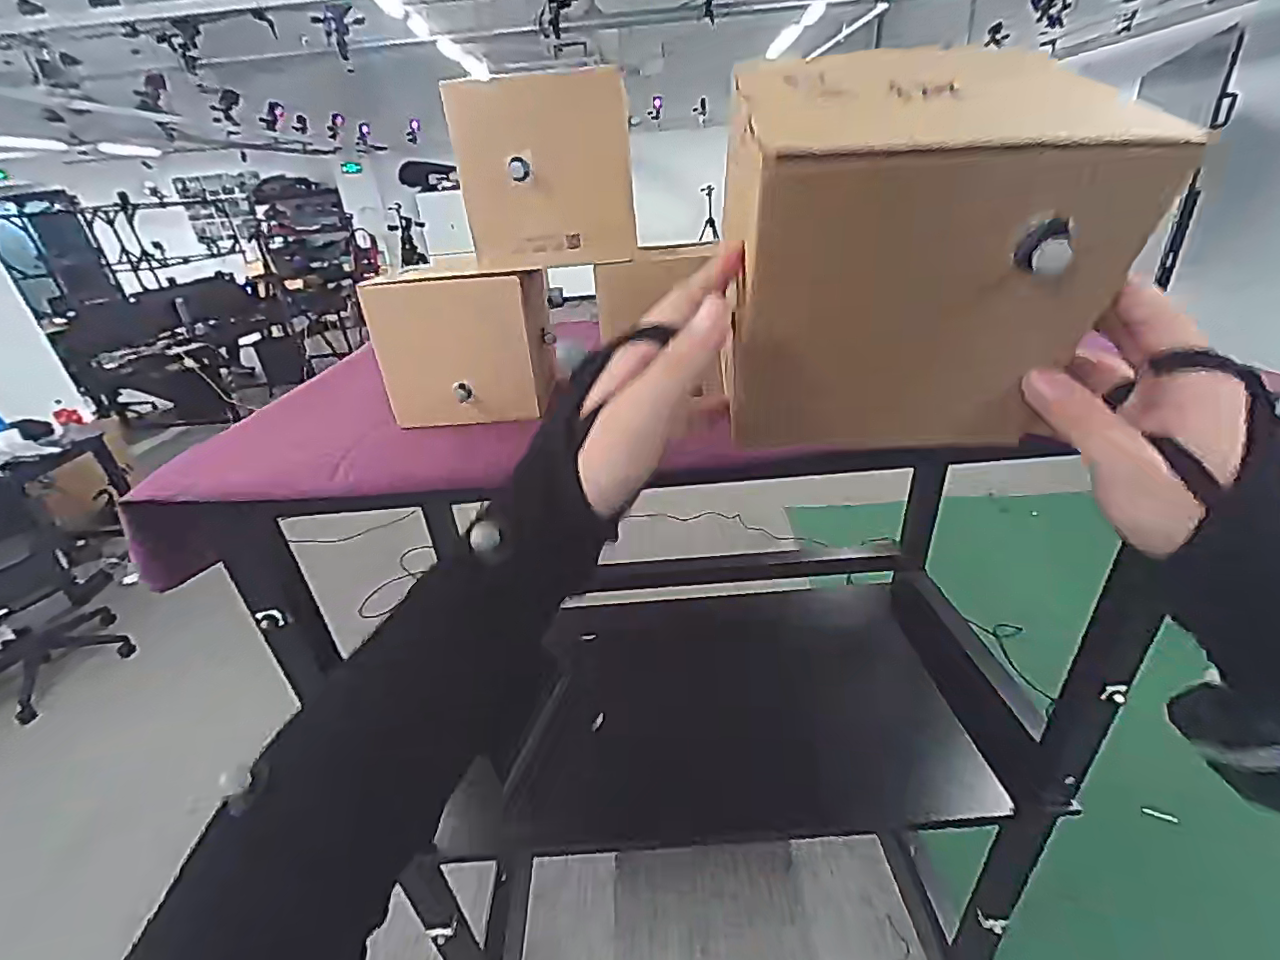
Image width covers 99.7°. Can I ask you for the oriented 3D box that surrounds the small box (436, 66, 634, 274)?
[{"bbox_3d":[-0.096,-0.327,0.596,0.168,0.176,0.179,-4,28,3],"label":"small box"}]

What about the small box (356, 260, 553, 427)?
[{"bbox_3d":[-0.211,-0.174,0.678,0.179,0.176,0.168,-3,28,1],"label":"small box"}]

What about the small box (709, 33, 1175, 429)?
[{"bbox_3d":[0.136,-0.144,0.331,0.179,0.176,0.168,-1,48,5],"label":"small box"}]
